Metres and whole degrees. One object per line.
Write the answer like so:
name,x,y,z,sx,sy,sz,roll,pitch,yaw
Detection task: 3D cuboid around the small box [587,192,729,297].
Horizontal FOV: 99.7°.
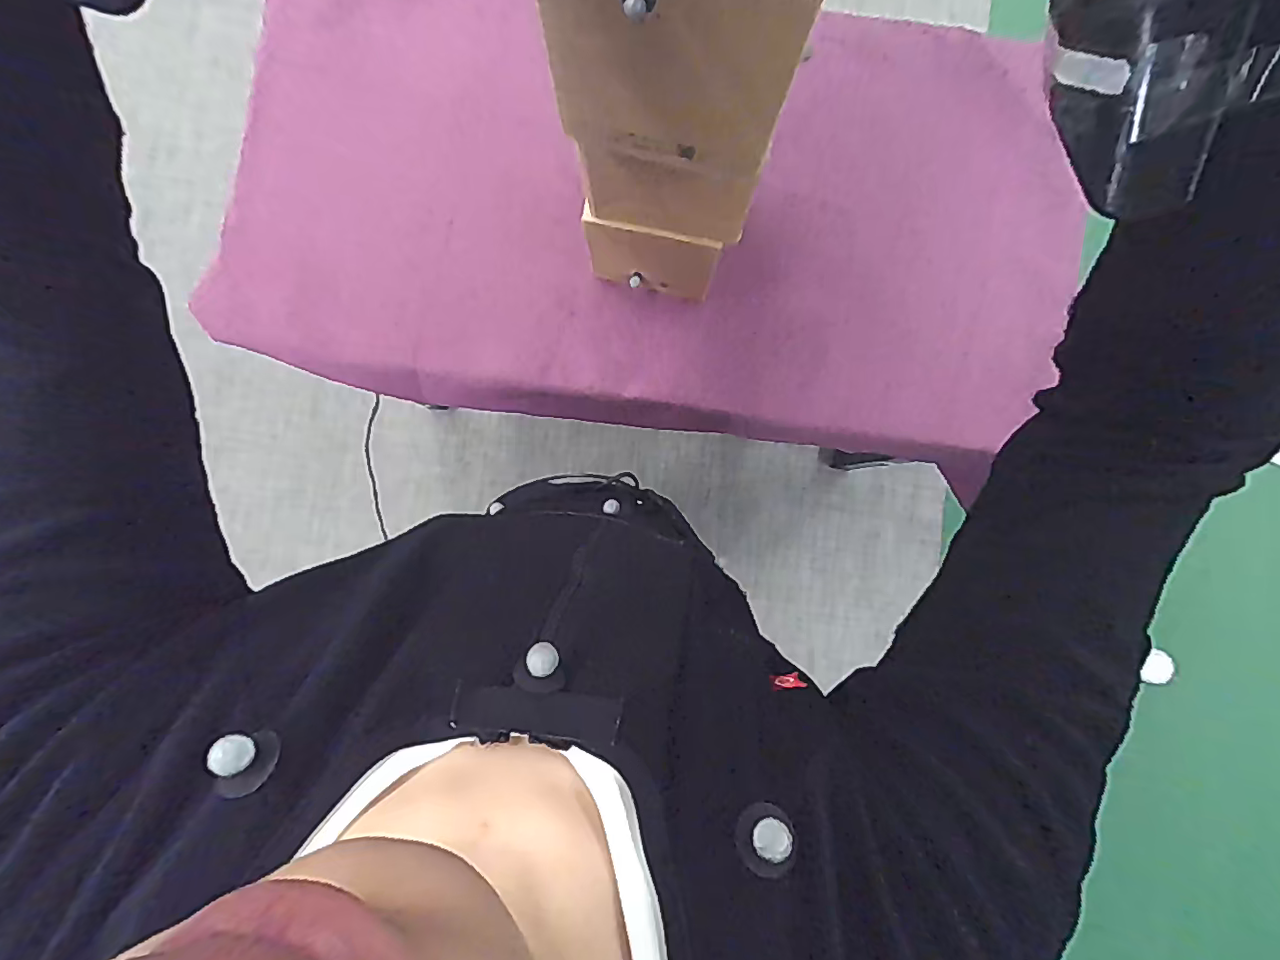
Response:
small box,0.036,-0.361,0.690,0.168,0.176,0.179,12,89,1

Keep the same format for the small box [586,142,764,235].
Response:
small box,0.043,-0.366,0.529,0.179,0.176,0.168,11,89,0

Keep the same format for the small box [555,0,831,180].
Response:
small box,0.040,-0.348,0.365,0.168,0.176,0.179,13,87,1
